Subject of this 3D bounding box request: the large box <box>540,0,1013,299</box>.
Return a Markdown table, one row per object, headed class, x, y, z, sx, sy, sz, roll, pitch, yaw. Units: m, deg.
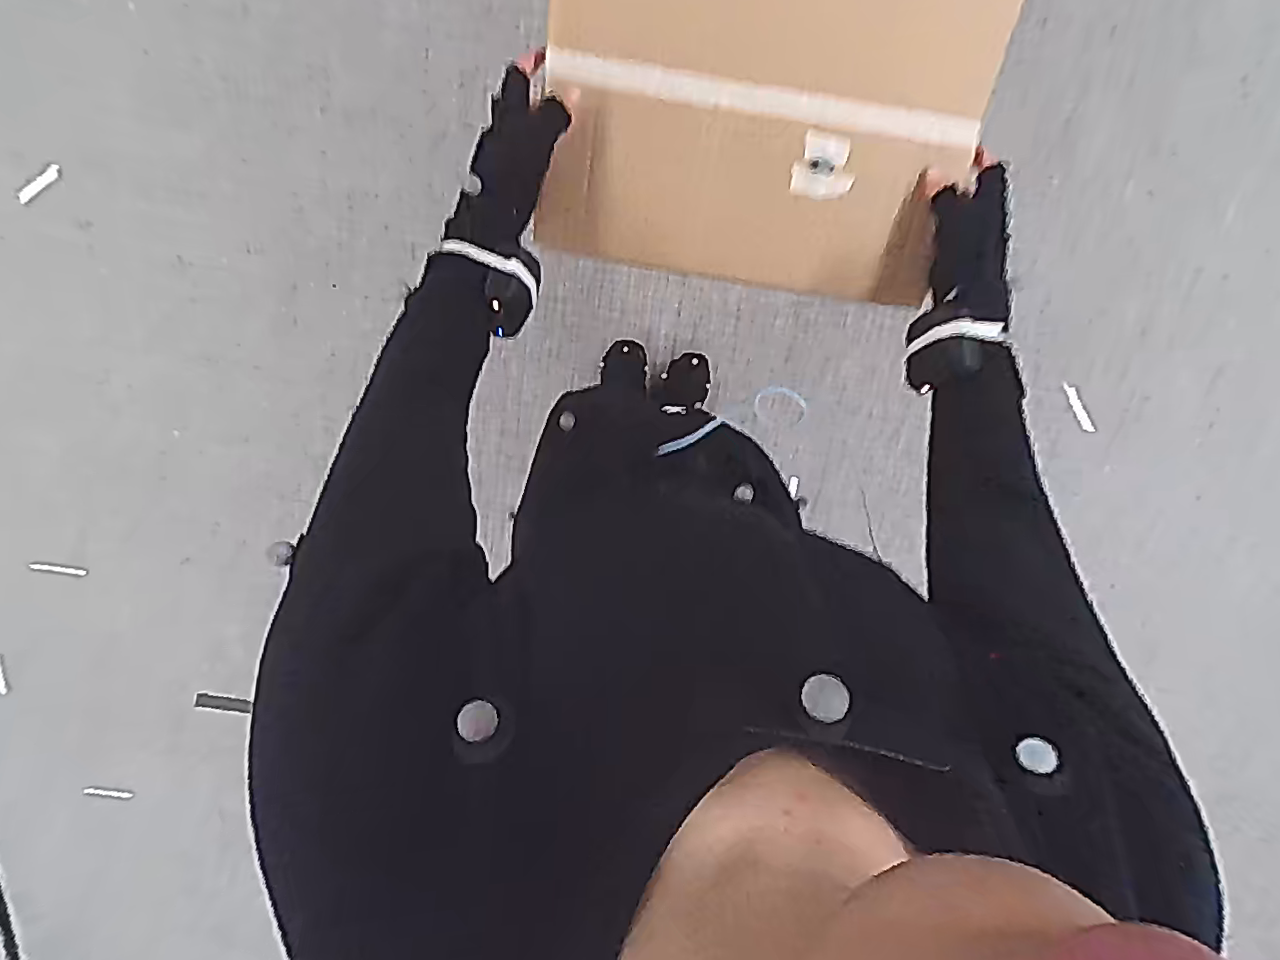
| class | x | y | z | sx | sy | sz | roll | pitch | yaw |
| --- | --- | --- | --- | --- | --- | --- | --- | --- | --- |
| large box | 0.115 | -0.411 | 0.637 | 0.408 | 0.320 | 0.320 | 9 | 113 | -3 |
